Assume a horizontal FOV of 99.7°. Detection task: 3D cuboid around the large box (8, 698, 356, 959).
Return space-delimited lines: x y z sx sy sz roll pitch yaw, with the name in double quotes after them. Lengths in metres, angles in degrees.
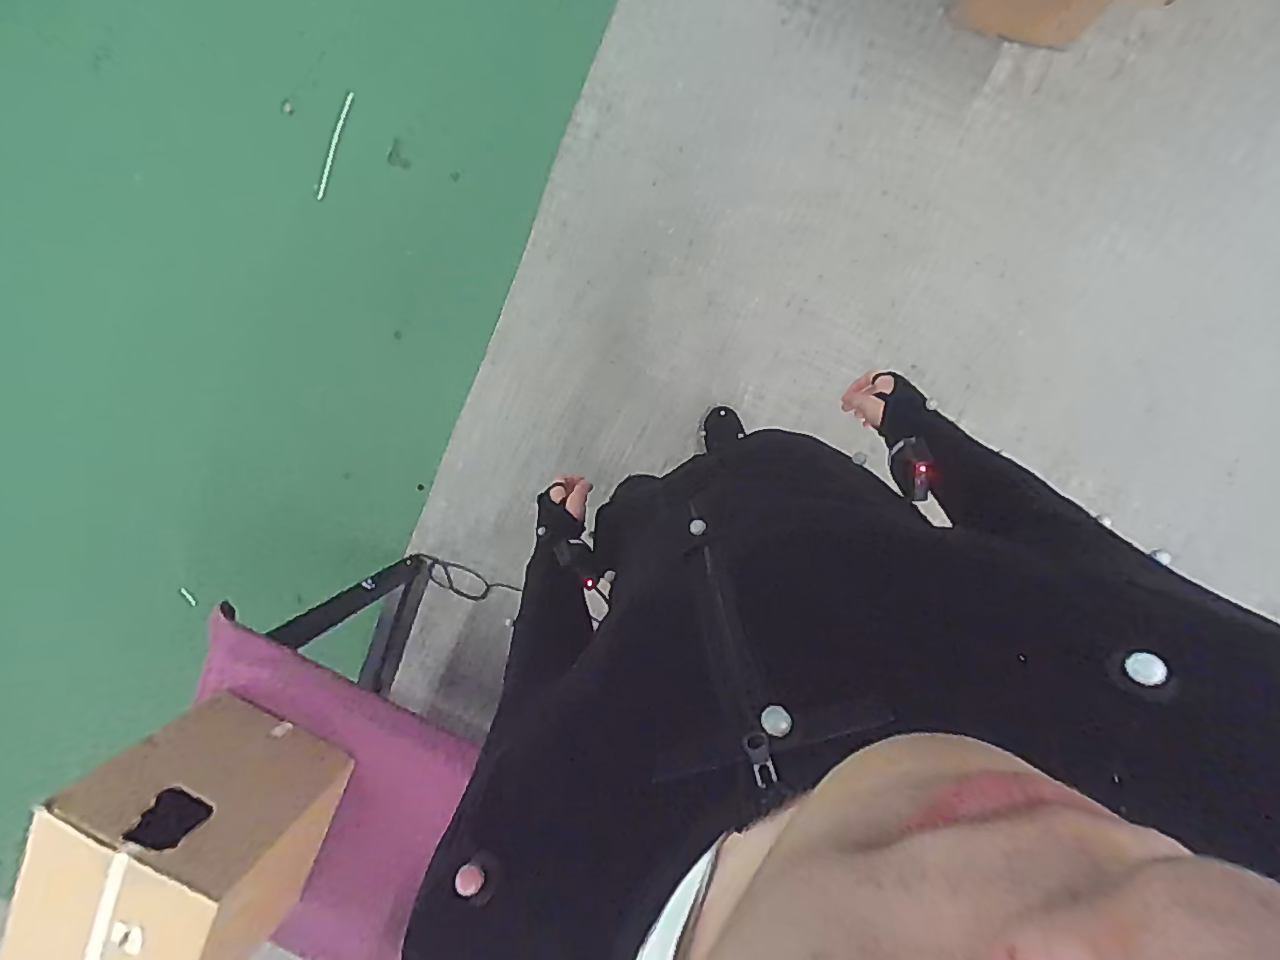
-0.785 0.690 0.960 0.320 0.320 0.408 25 101 2 "large box"
